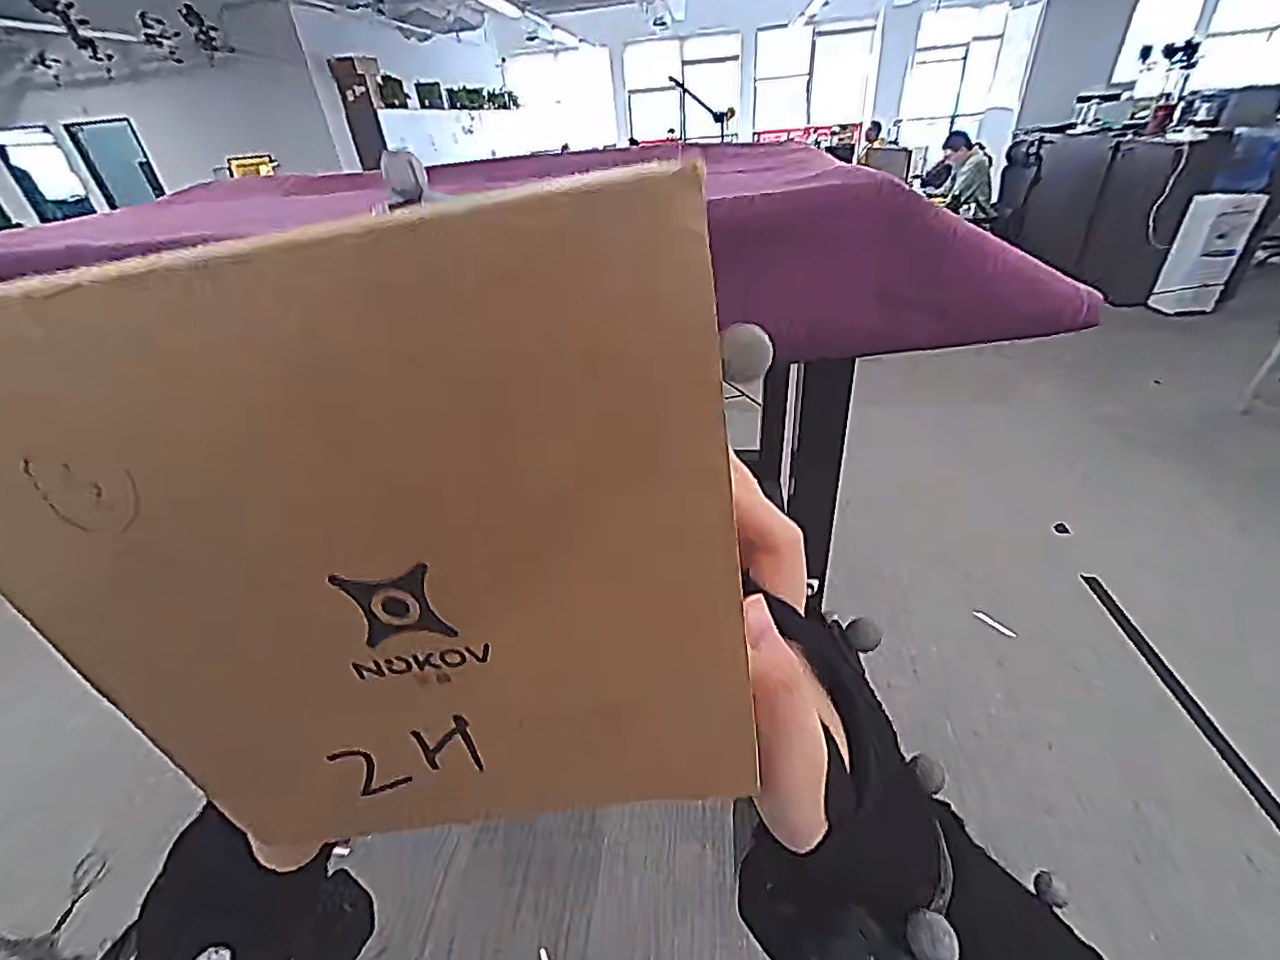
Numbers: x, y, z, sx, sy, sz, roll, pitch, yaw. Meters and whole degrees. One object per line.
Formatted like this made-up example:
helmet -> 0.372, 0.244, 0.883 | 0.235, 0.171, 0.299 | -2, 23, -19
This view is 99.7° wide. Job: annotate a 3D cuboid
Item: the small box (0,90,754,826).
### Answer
small box -> -0.059, -0.014, 0.199 | 0.168, 0.179, 0.176 | -8, 30, 3
